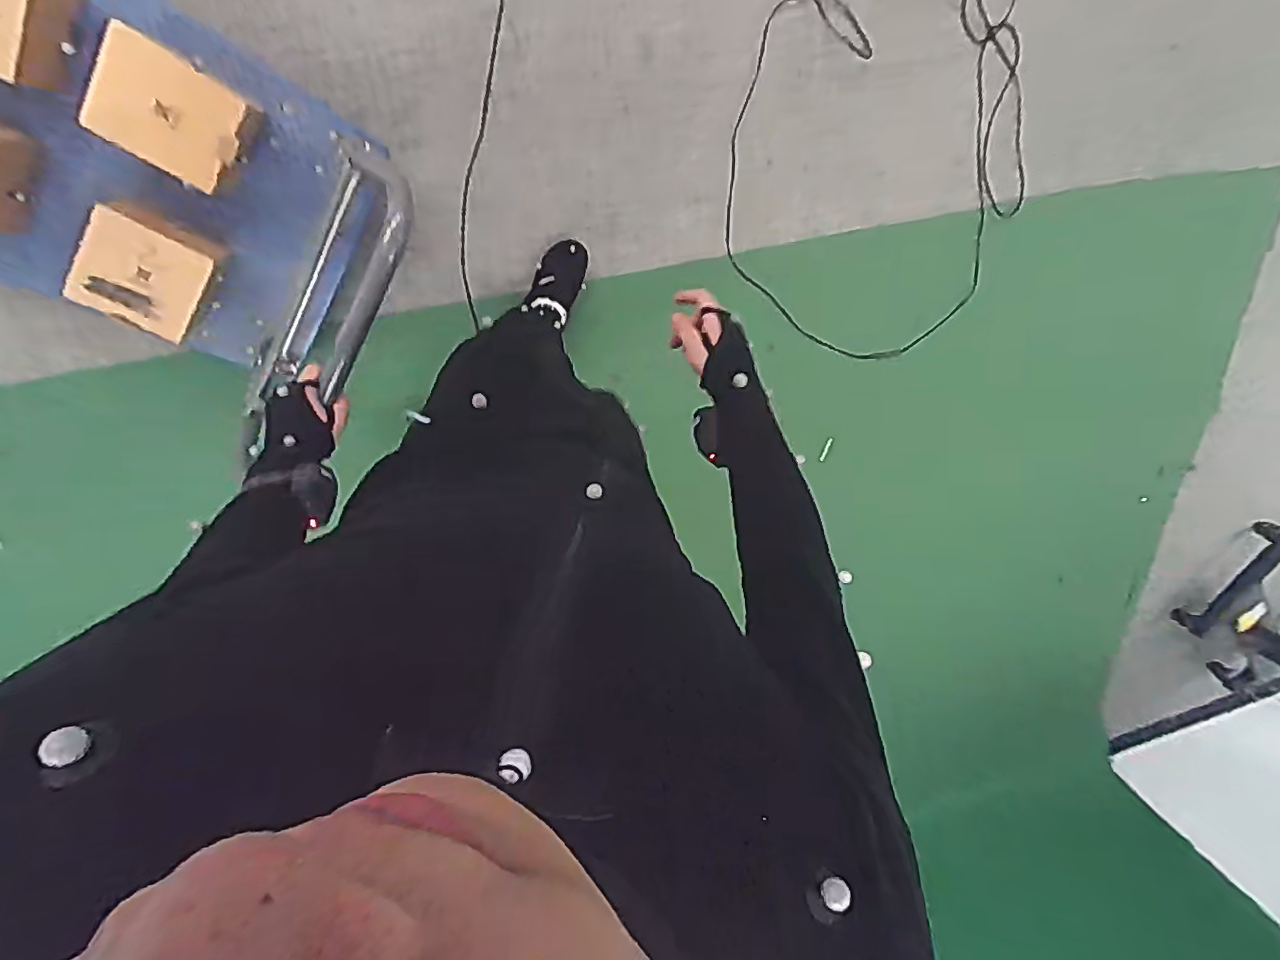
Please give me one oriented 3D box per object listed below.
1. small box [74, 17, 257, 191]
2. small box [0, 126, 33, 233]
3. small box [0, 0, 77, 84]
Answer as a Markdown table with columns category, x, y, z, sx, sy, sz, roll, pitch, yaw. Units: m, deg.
| category | x | y | z | sx | sy | sz | roll | pitch | yaw |
| --- | --- | --- | --- | --- | --- | --- | --- | --- | --- |
| small box | -0.791 | -0.623 | 0.921 | 0.179 | 0.176 | 0.168 | 24 | 106 | -36 |
| small box | -1.106 | -0.497 | 0.838 | 0.179 | 0.176 | 0.168 | 18 | 109 | -33 |
| small box | -0.976 | -0.707 | 0.776 | 0.179 | 0.176 | 0.168 | 20 | 109 | -35 |
